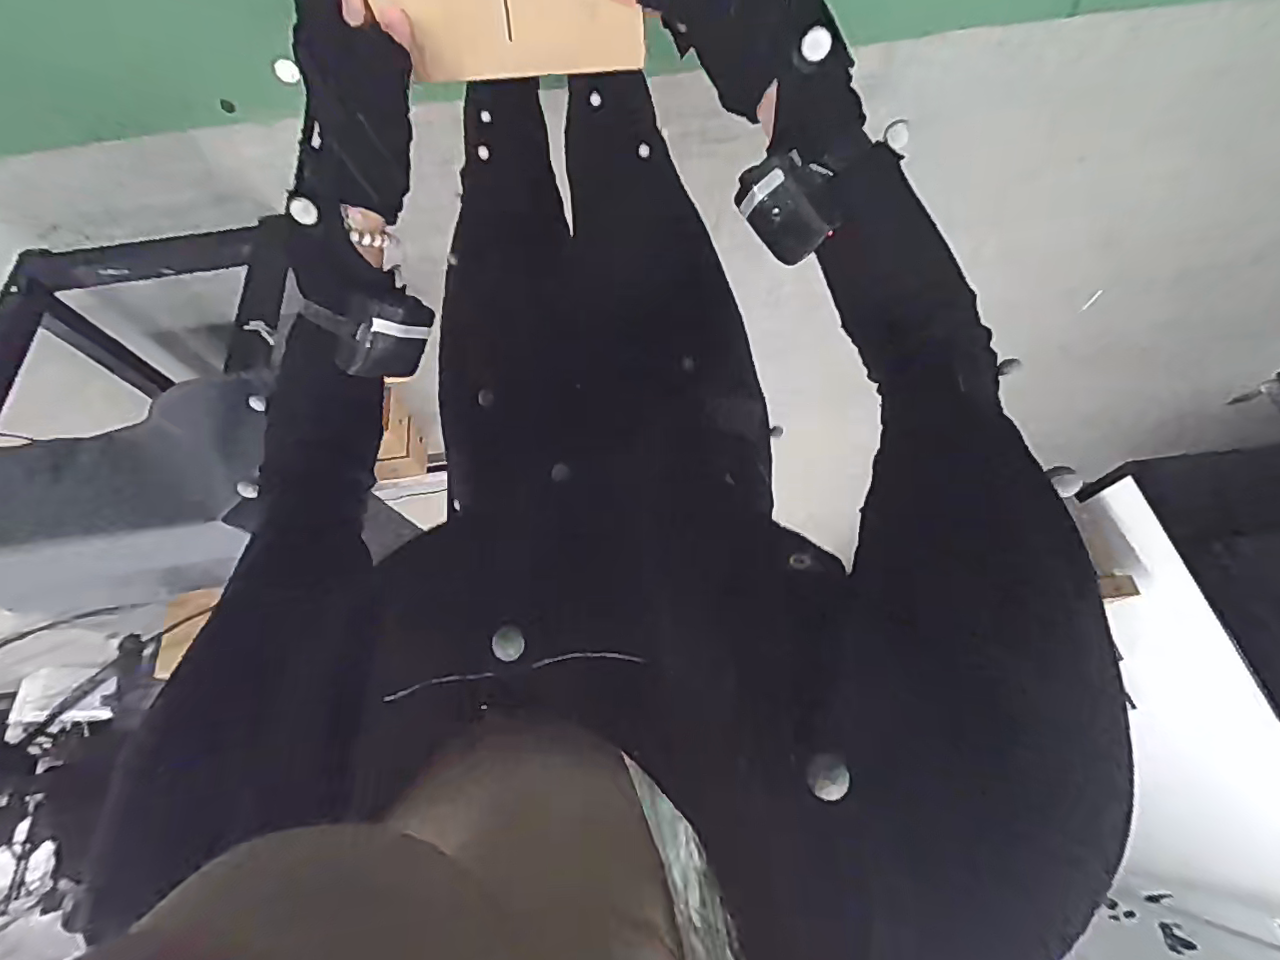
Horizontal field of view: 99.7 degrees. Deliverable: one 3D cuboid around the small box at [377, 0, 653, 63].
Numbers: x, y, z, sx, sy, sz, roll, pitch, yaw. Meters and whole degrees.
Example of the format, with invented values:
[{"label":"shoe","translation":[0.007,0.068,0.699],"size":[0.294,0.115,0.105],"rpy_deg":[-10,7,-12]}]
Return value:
[{"label":"small box","translation":[-0.079,-0.384,0.306],"size":[0.168,0.176,0.179],"rpy_deg":[-2,155,2]}]
